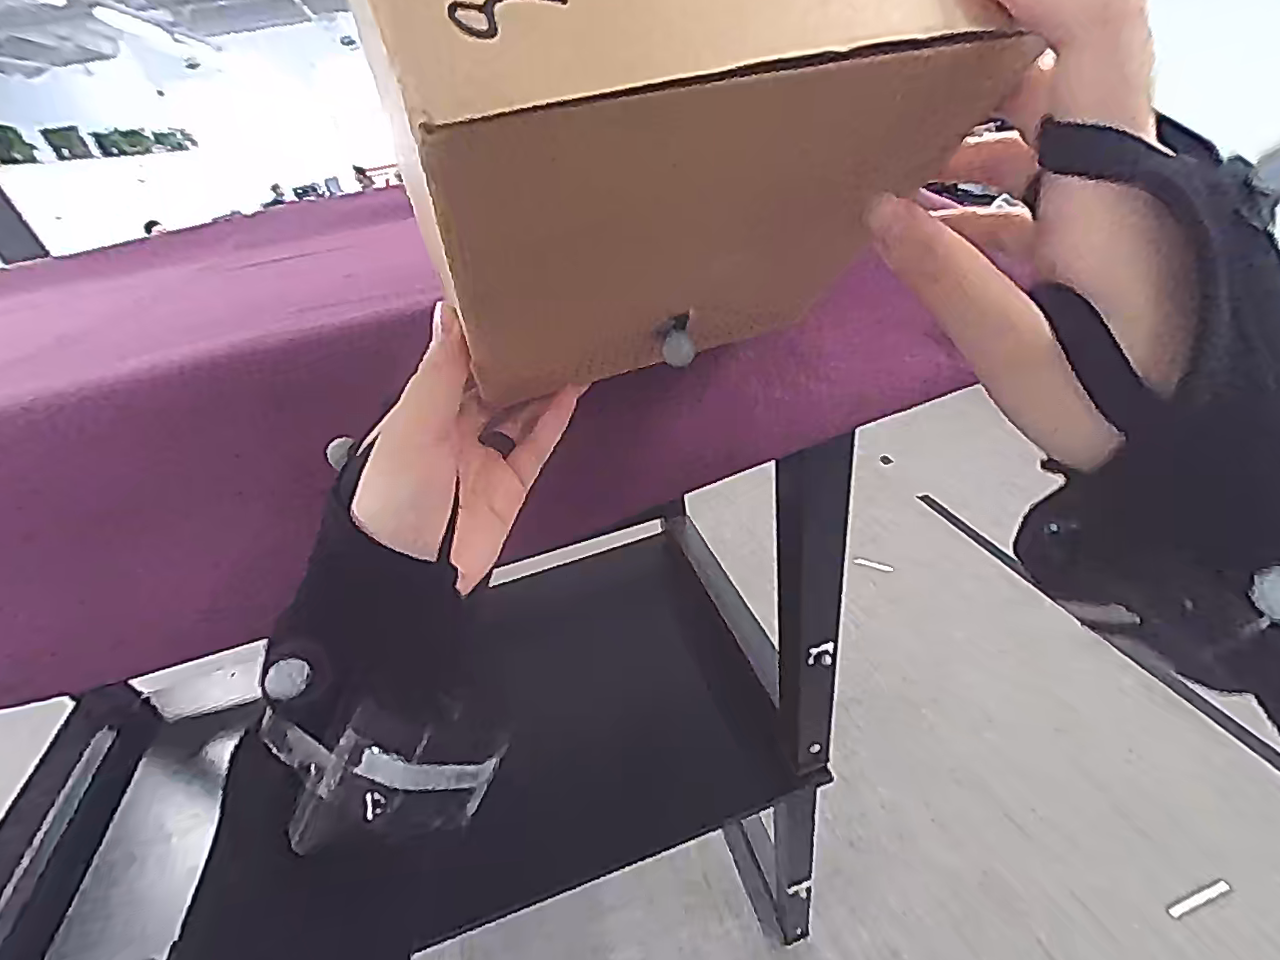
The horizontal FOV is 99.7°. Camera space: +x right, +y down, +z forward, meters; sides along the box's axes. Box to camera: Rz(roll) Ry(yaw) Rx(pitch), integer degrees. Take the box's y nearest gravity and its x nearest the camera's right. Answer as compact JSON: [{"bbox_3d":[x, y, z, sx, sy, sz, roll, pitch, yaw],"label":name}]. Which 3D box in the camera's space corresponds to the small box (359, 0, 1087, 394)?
[{"bbox_3d":[-0.004,-0.153,0.207,0.179,0.168,0.176,-18,-9,-15],"label":"small box"}]
